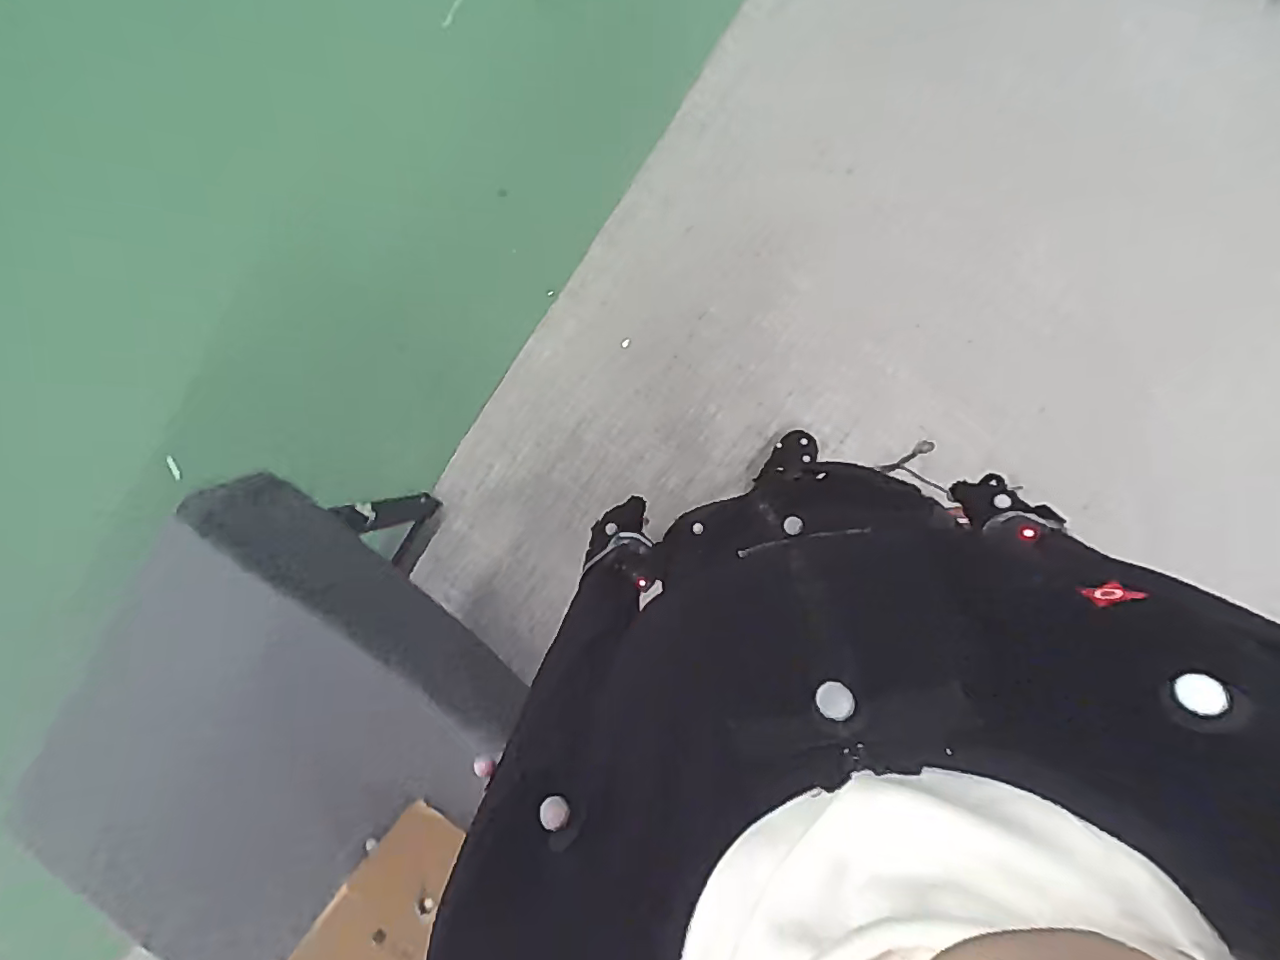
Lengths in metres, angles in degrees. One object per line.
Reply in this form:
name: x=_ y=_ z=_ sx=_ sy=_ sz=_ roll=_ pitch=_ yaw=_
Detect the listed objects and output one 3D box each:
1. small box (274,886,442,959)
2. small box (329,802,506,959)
small box: x=-0.328 y=0.575 z=0.539 sx=0.168 sy=0.176 sz=0.179 roll=34 pitch=95 yaw=6
small box: x=-0.305 y=0.568 z=0.699 sx=0.179 sy=0.176 sz=0.168 roll=36 pitch=95 yaw=5
